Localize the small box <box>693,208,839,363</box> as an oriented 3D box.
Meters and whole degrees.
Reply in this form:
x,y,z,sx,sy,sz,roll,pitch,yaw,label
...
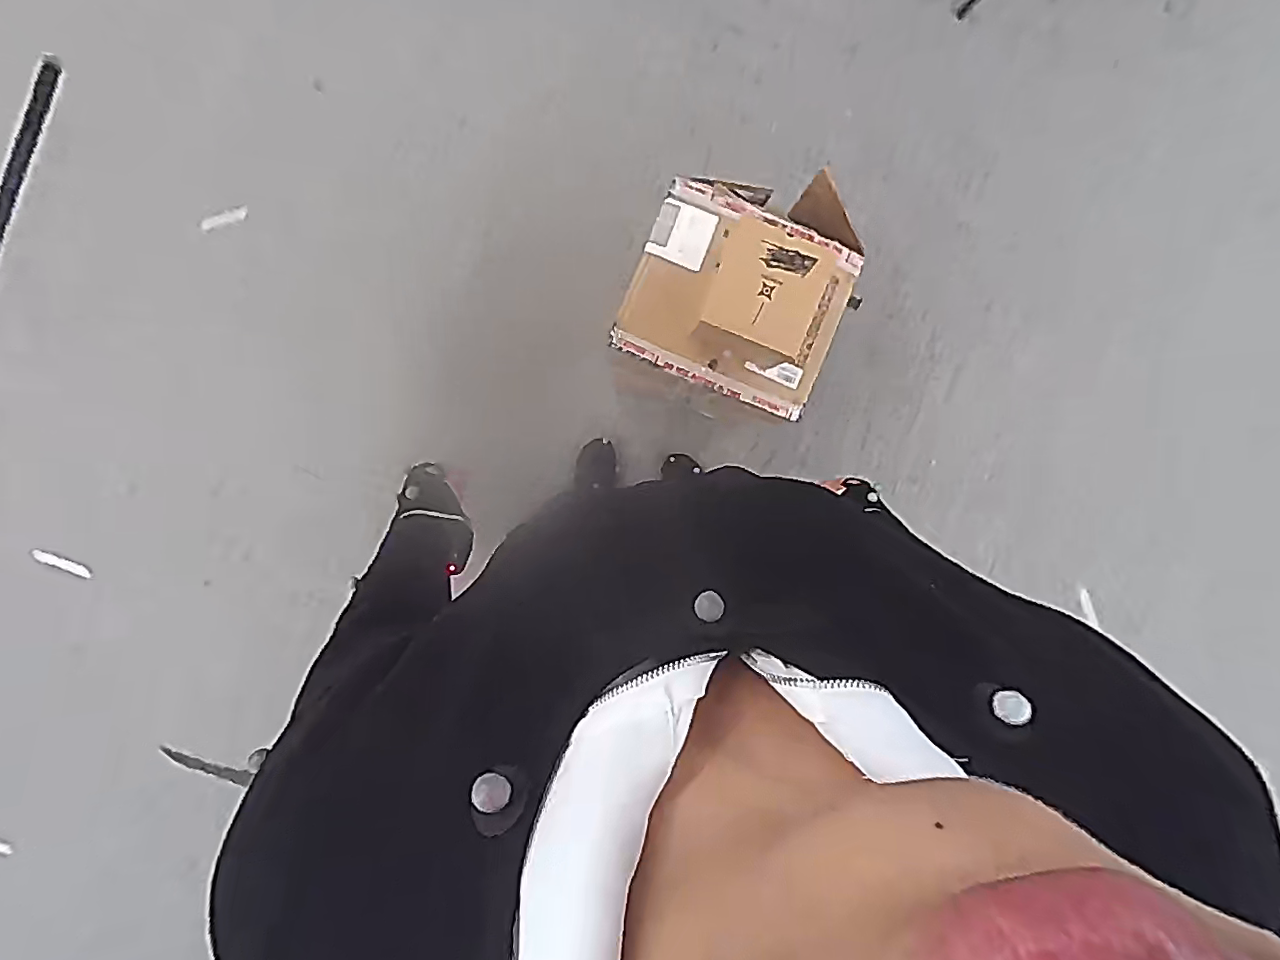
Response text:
x,y,z,sx,sy,sz,roll,pitch,yaw,label
0.198,-0.314,0.912,0.168,0.176,0.179,22,96,-3,small box
